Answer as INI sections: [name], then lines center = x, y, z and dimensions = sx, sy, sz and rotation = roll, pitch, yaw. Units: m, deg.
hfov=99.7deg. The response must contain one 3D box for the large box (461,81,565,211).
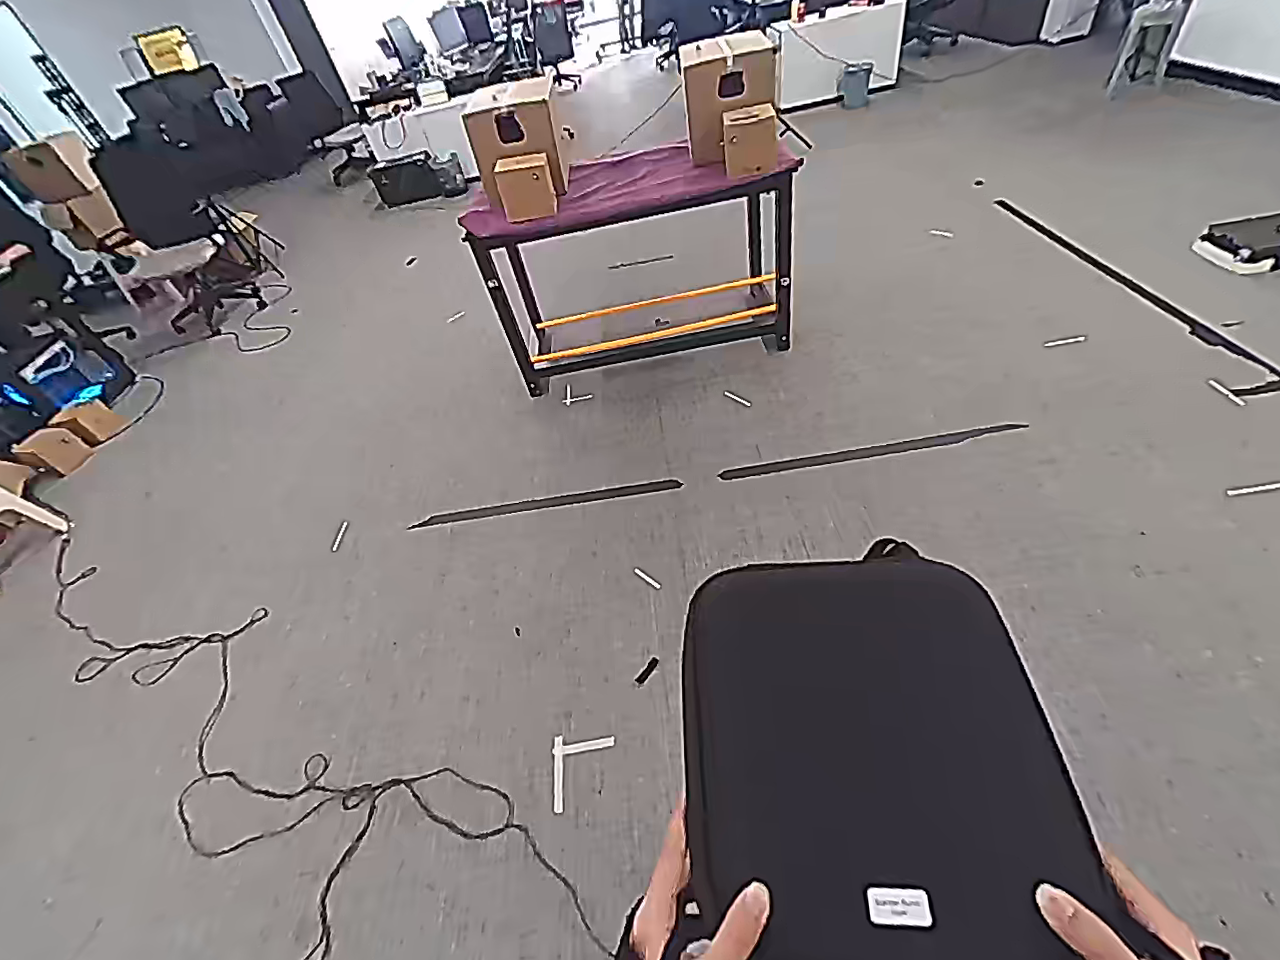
[large box]
center = -0.475, -1.311, 2.119
dimensions = 0.320, 0.320, 0.408
rotation = -9, 47, 3
